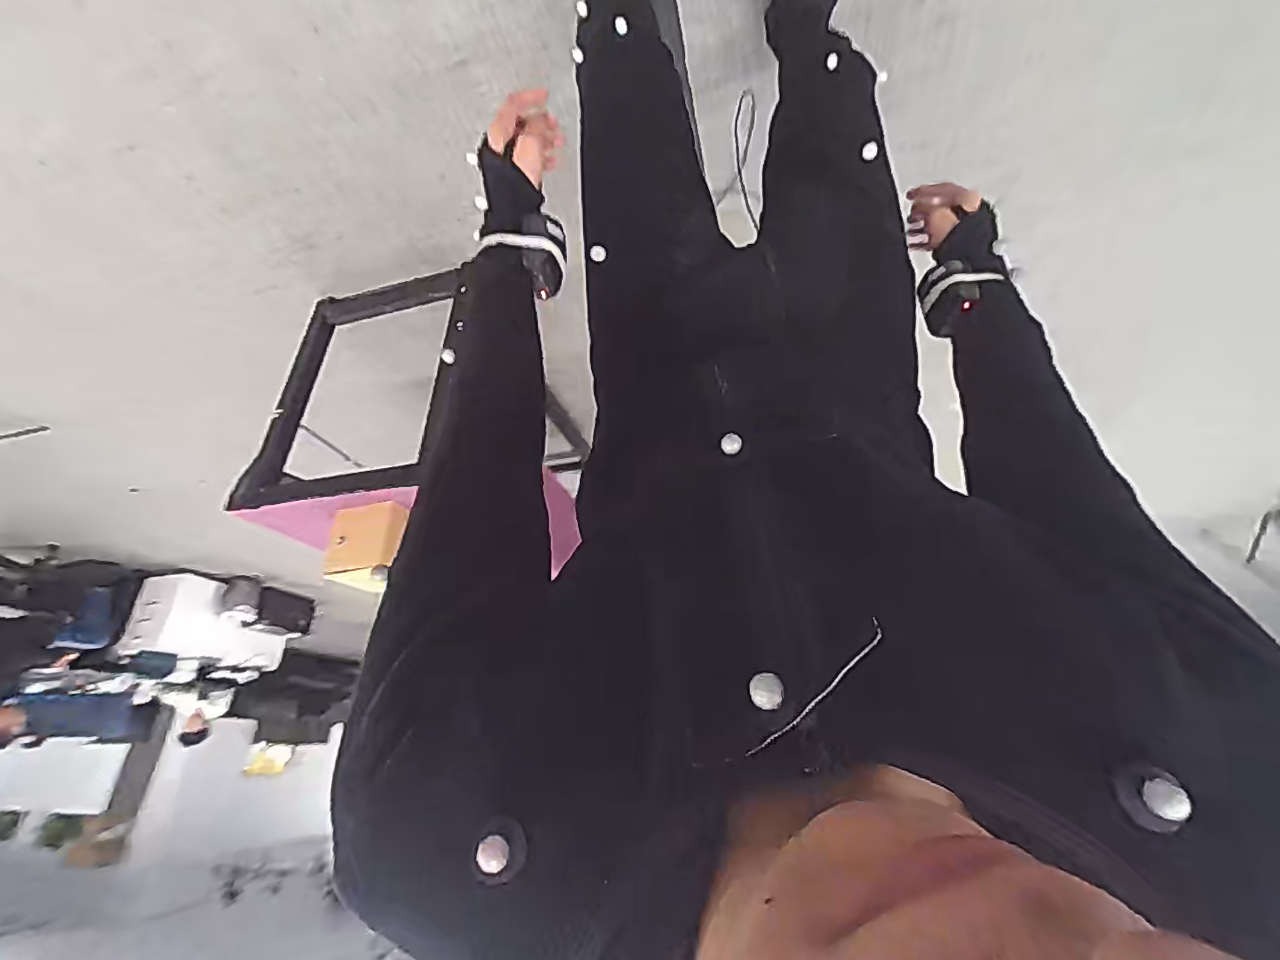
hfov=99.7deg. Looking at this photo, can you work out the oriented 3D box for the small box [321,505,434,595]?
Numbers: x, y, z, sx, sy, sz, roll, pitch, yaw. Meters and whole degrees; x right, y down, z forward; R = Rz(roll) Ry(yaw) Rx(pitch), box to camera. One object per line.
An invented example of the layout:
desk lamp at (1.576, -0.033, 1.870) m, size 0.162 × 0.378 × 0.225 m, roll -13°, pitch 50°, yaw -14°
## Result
small box at (-0.642, 0.176, 1.344) m, size 0.179 × 0.176 × 0.168 m, roll -9°, pitch 152°, yaw 17°
